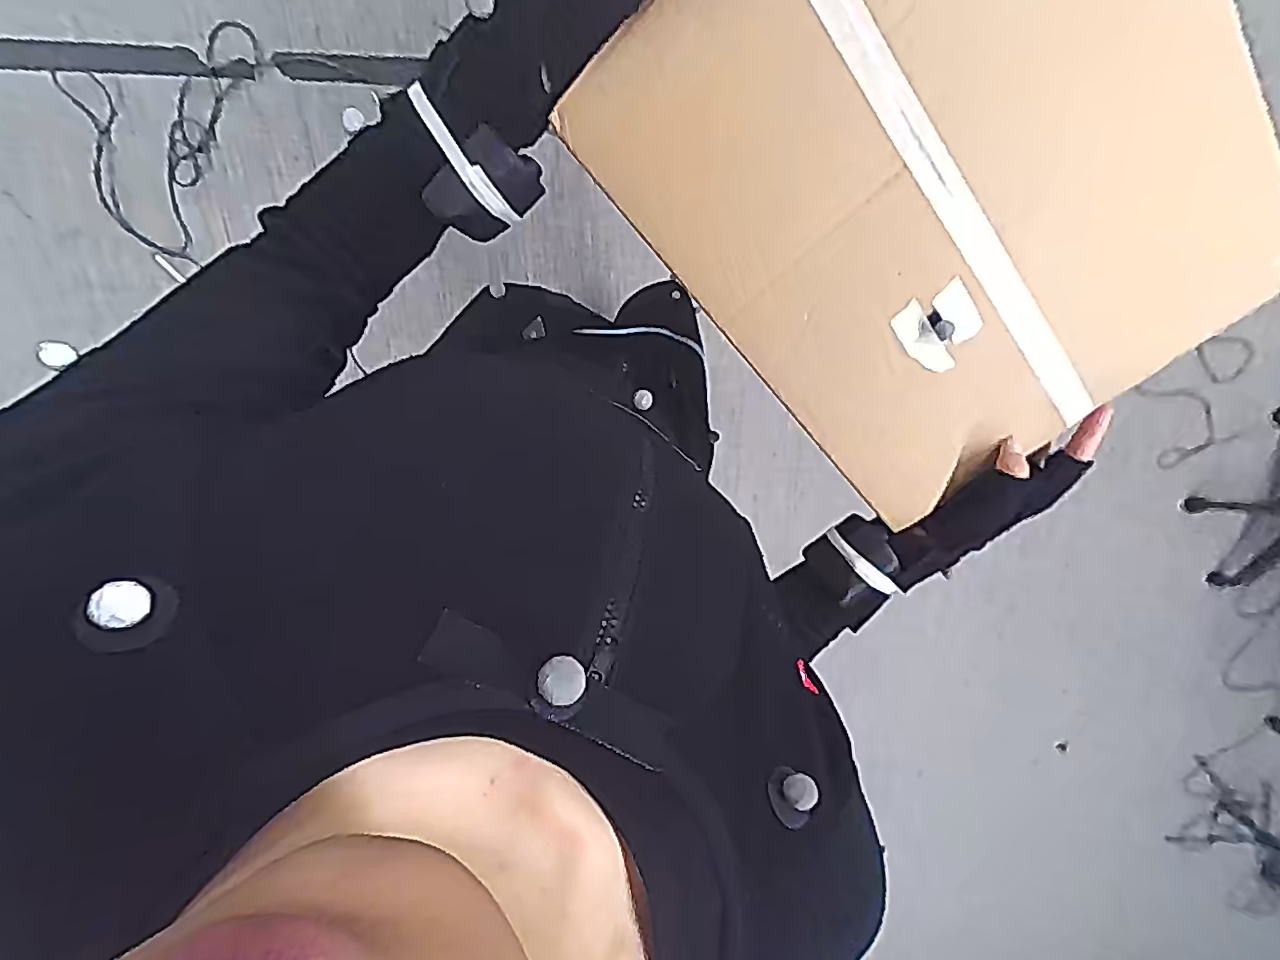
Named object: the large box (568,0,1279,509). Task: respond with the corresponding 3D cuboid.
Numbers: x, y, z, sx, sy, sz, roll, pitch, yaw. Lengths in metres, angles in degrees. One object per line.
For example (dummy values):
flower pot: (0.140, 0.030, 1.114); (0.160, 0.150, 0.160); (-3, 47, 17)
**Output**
large box: (0.197, -0.260, 0.482); (0.320, 0.320, 0.408); (-38, 113, 21)
